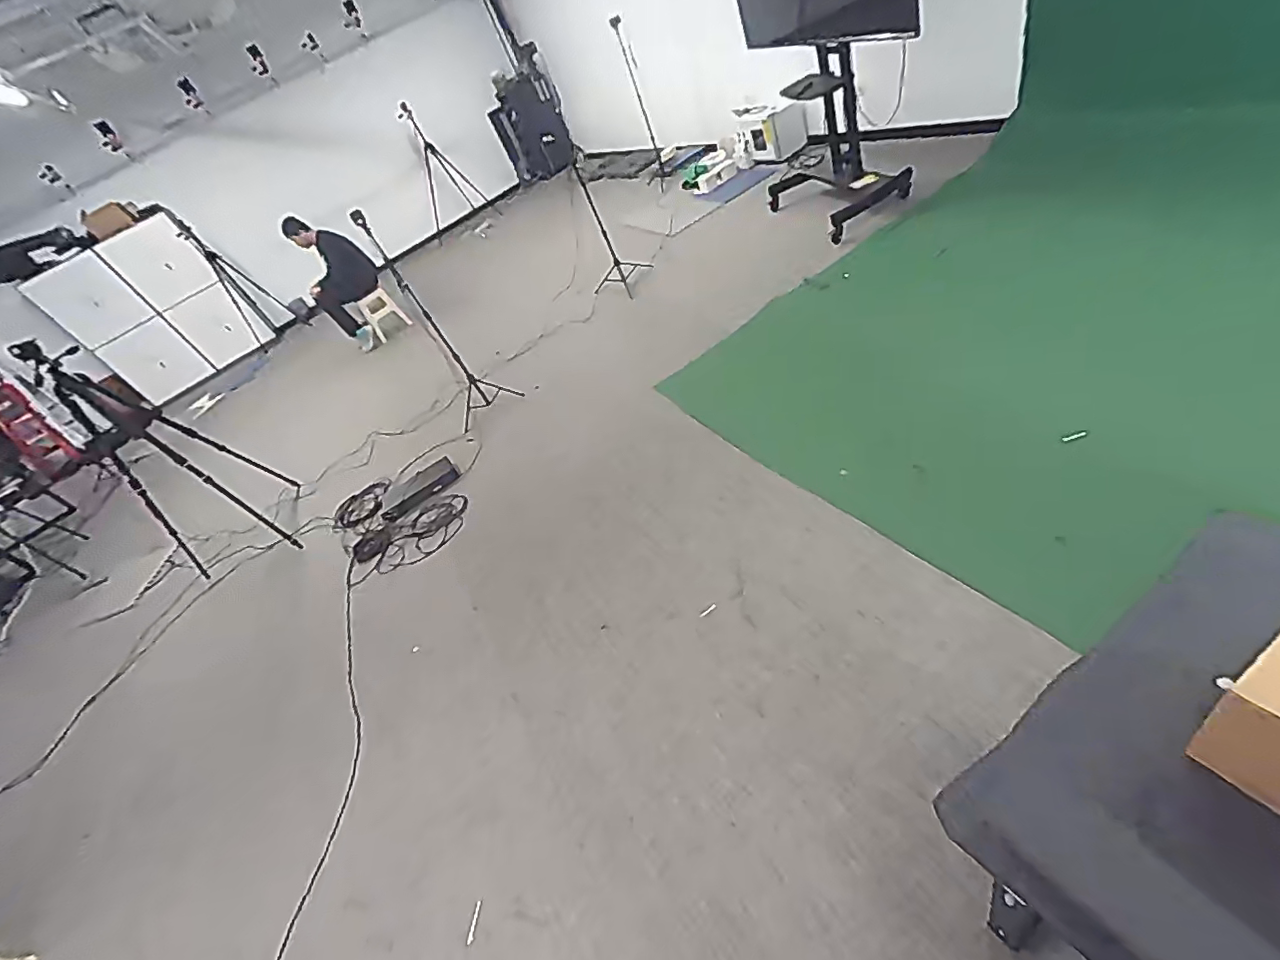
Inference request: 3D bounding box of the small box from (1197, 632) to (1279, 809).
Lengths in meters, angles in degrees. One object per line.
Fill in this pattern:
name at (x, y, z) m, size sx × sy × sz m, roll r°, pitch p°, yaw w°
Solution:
small box at (0.716, 0.253, 0.539) m, size 0.179 × 0.176 × 0.168 m, roll -37°, pitch 40°, yaw -10°
